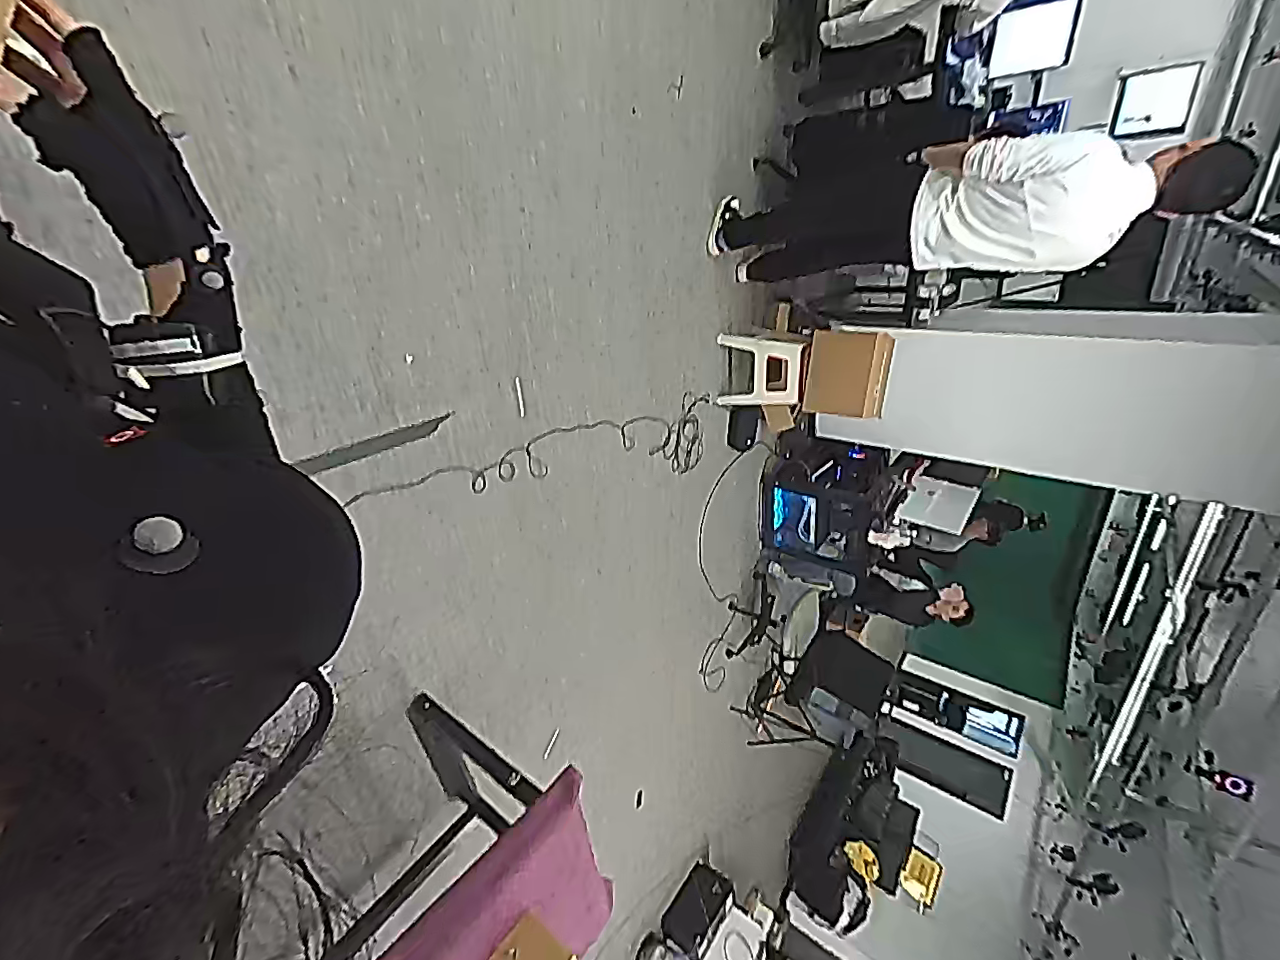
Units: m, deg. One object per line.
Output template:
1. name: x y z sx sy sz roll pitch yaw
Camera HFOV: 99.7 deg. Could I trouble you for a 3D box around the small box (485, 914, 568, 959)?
1. small box: -0.276 1.210 1.293 0.179 0.176 0.168 -34 128 -41
